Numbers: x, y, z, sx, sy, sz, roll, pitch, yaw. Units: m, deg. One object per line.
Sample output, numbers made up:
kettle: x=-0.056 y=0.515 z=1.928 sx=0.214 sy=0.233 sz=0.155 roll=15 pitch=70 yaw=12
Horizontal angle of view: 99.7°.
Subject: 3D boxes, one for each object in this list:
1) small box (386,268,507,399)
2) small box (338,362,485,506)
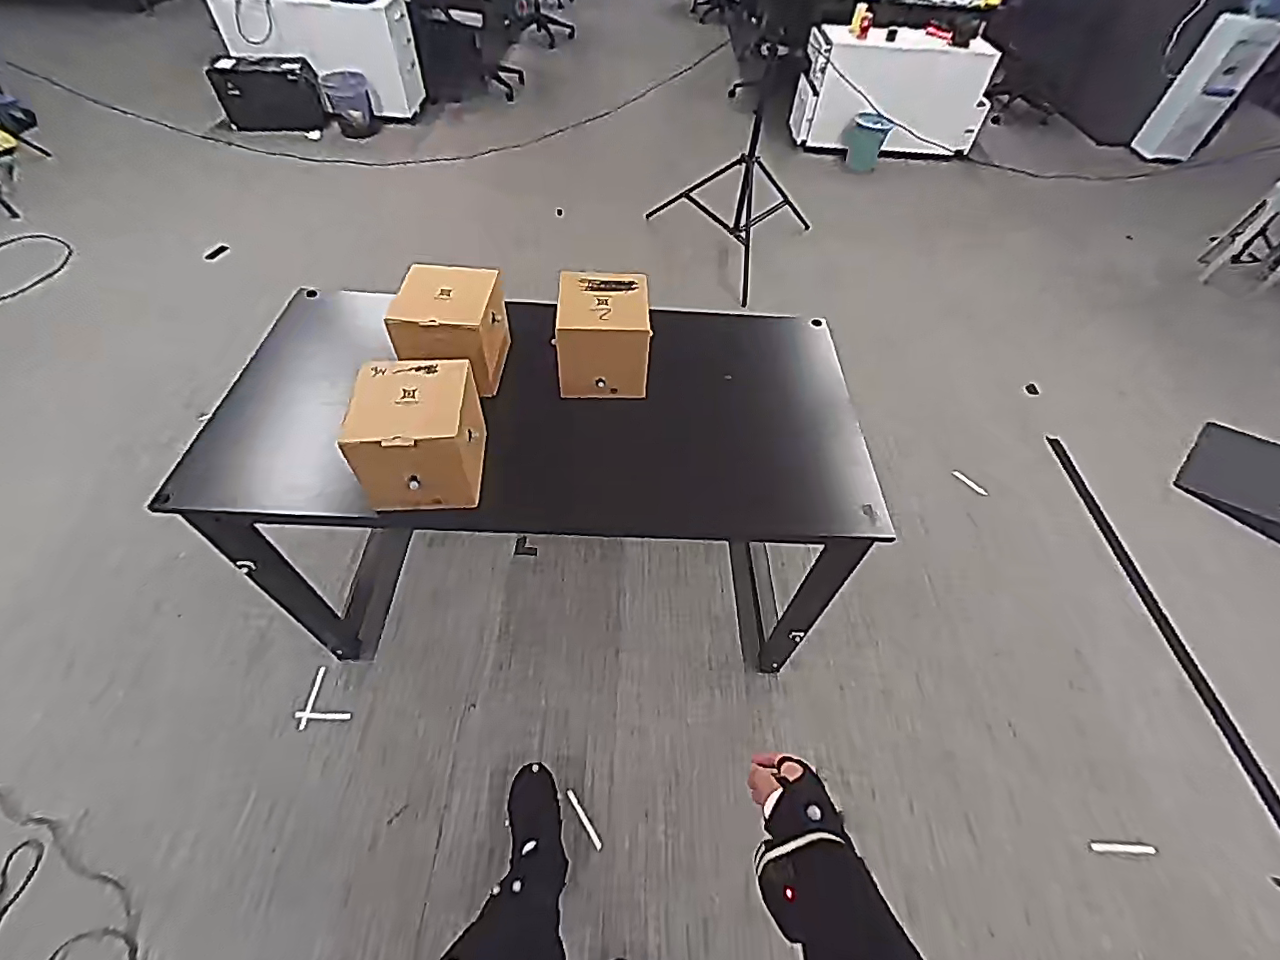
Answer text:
small box: x=-0.359 y=-0.281 z=1.042 sx=0.168 sy=0.176 sz=0.179 roll=3 pitch=52 yaw=-1
small box: x=-0.353 y=-0.068 z=0.874 sx=0.168 sy=0.176 sz=0.179 roll=-3 pitch=52 yaw=-6
